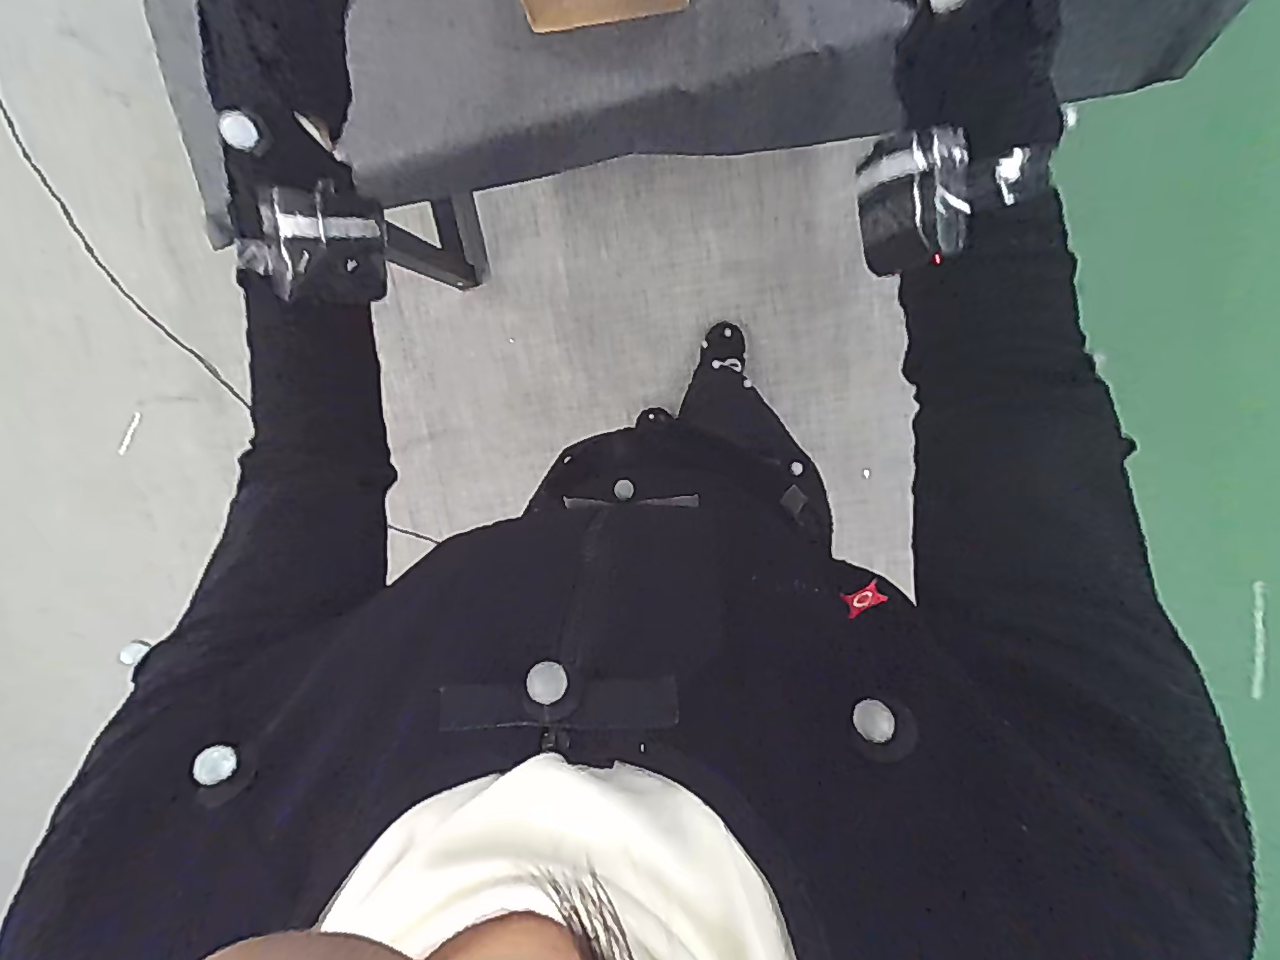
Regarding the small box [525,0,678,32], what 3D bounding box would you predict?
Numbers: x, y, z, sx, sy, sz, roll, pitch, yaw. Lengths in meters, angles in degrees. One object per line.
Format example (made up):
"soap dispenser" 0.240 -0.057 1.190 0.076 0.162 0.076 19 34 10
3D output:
"small box" -0.051 -0.583 0.521 0.179 0.176 0.168 -7 97 6
